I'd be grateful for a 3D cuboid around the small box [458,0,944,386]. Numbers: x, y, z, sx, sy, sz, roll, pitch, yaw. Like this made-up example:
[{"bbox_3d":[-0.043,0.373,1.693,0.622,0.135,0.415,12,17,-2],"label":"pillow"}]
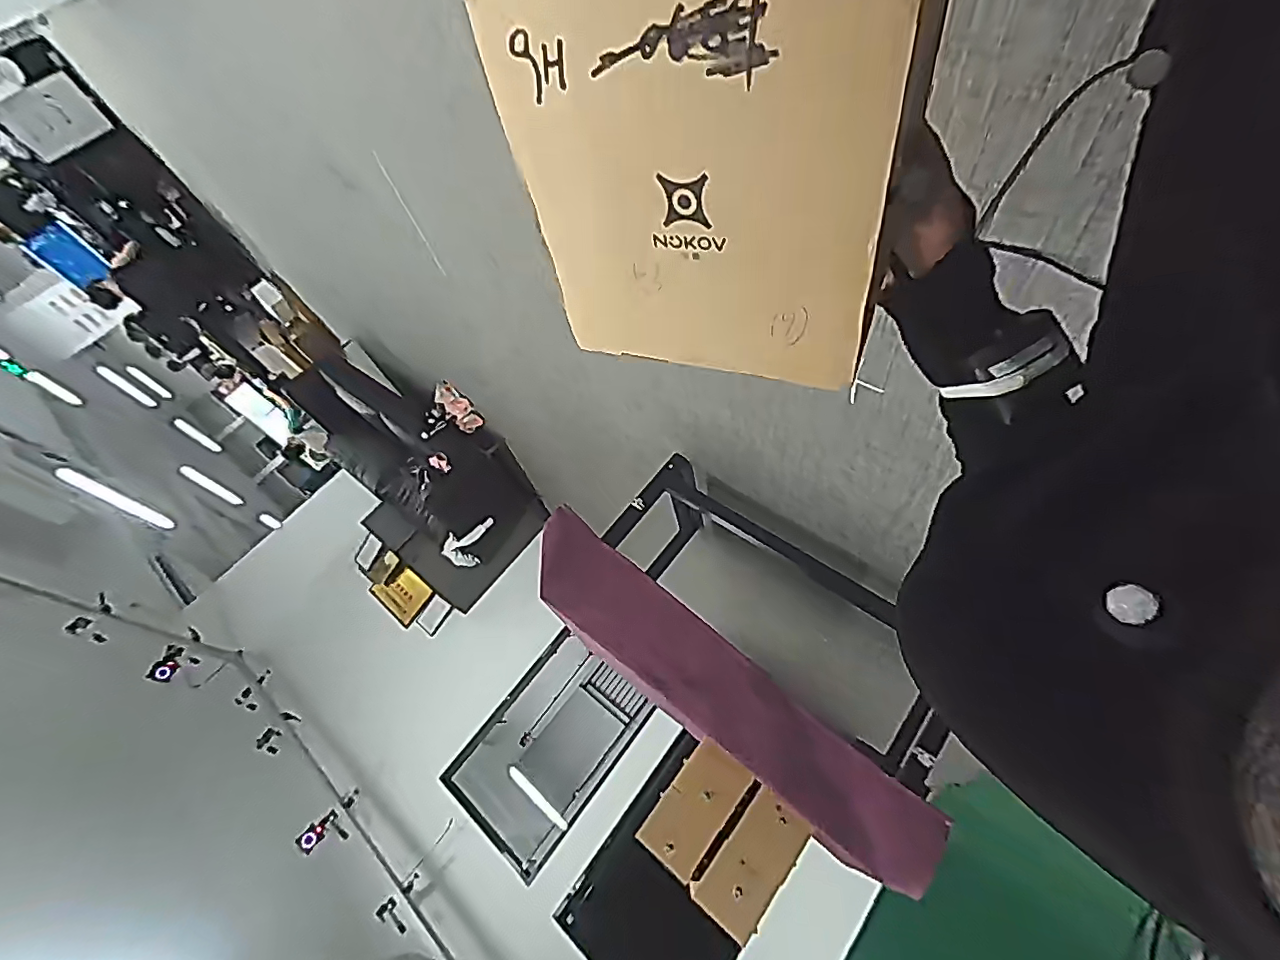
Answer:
[{"bbox_3d":[0.048,-0.180,0.276,0.168,0.176,0.179,14,147,20],"label":"small box"}]
